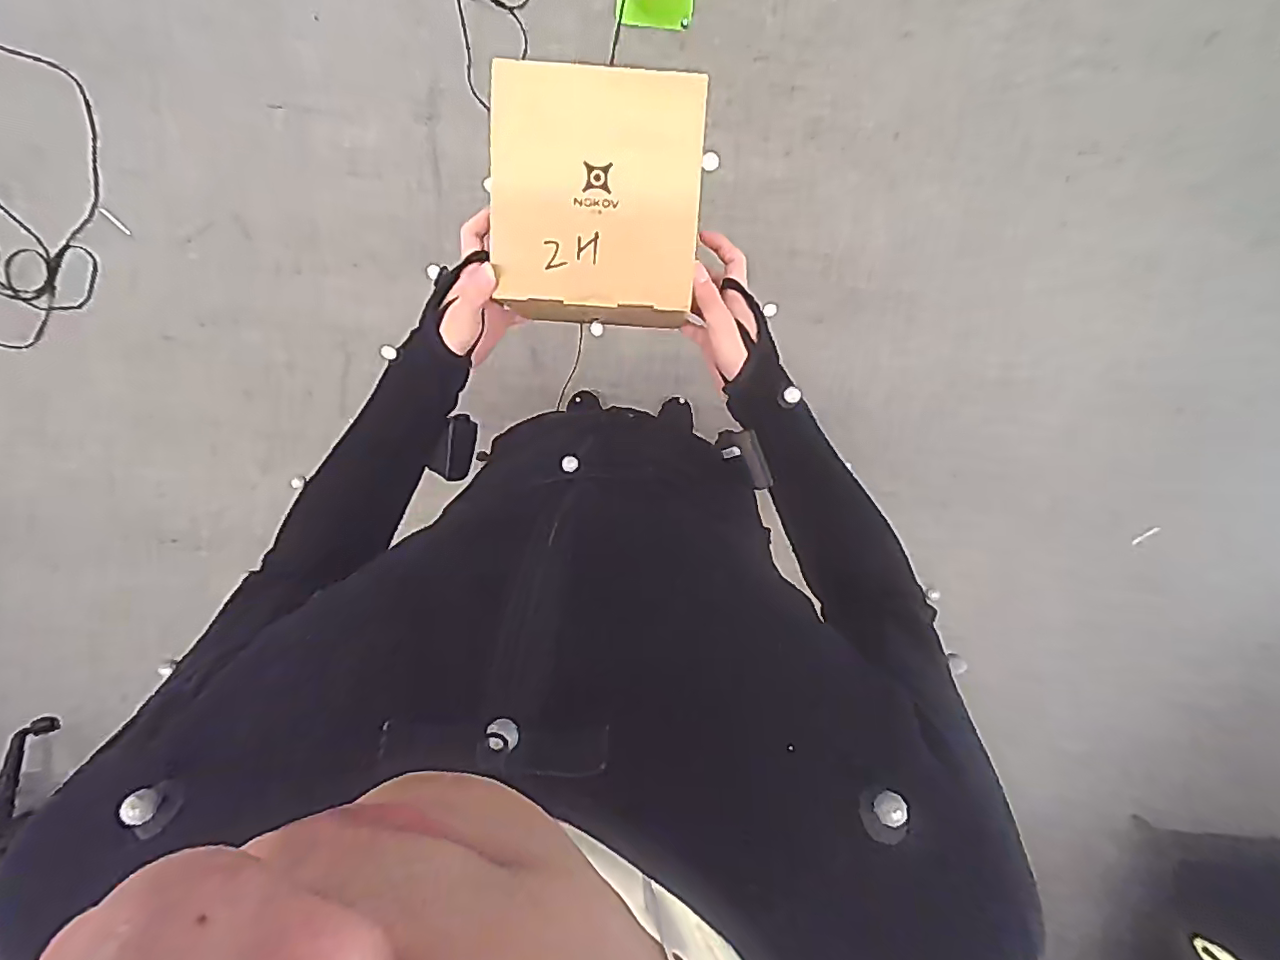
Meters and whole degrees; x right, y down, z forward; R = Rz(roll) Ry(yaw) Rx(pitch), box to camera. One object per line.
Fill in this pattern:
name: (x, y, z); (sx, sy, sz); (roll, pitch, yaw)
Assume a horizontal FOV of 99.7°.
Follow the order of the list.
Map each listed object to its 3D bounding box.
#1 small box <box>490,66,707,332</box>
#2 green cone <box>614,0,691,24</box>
small box: (-0.038, -0.243, 0.513); (0.168, 0.176, 0.179); (4, 101, -2)
green cone: (0.037, -1.273, 1.233); (0.202, 0.368, 0.200); (5, 100, -1)
